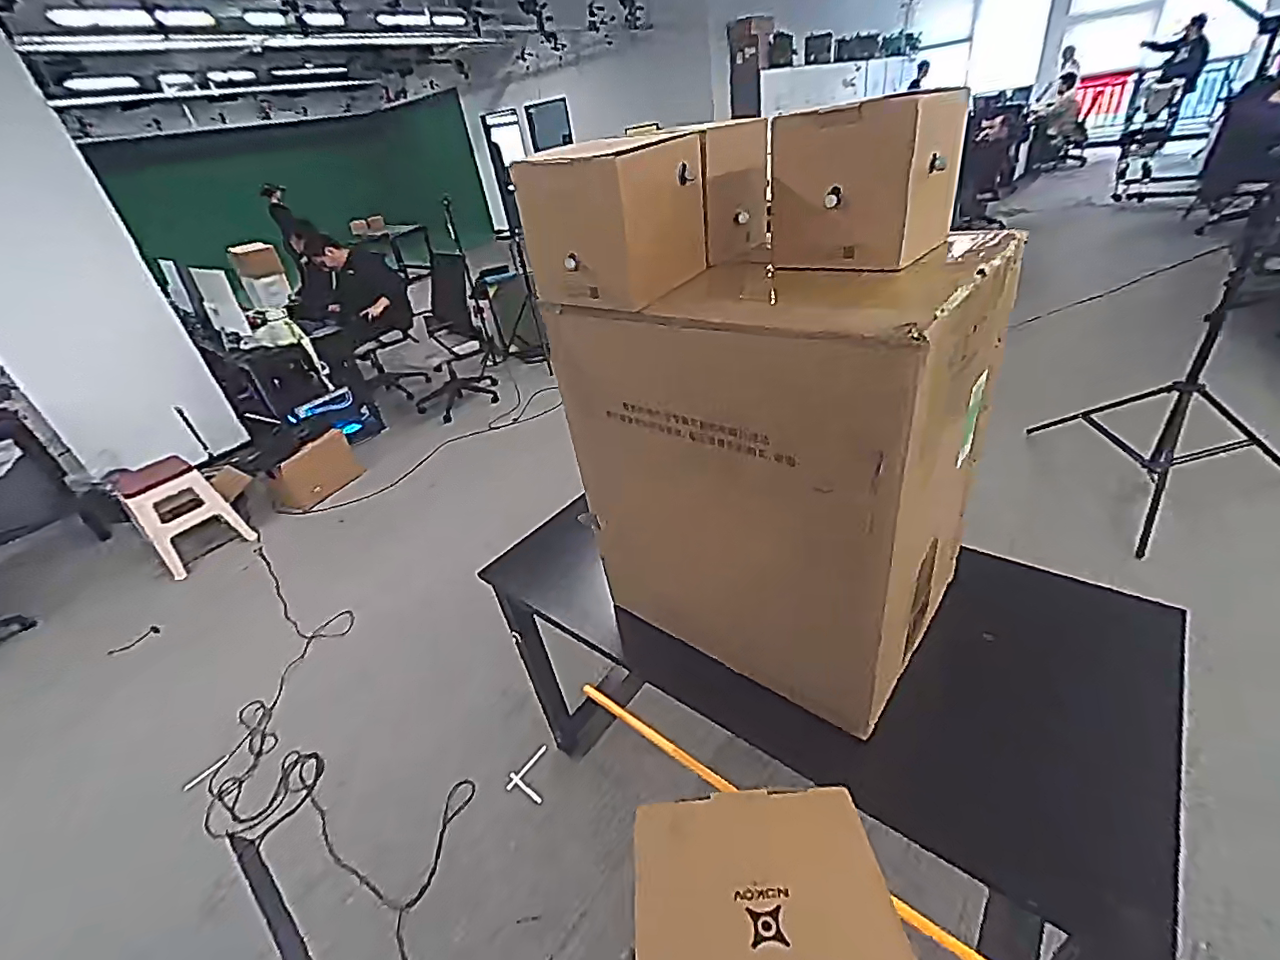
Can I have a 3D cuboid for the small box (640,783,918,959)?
[{"bbox_3d":[0.087,0.348,0.372,0.168,0.176,0.179,-5,22,2],"label":"small box"}]
